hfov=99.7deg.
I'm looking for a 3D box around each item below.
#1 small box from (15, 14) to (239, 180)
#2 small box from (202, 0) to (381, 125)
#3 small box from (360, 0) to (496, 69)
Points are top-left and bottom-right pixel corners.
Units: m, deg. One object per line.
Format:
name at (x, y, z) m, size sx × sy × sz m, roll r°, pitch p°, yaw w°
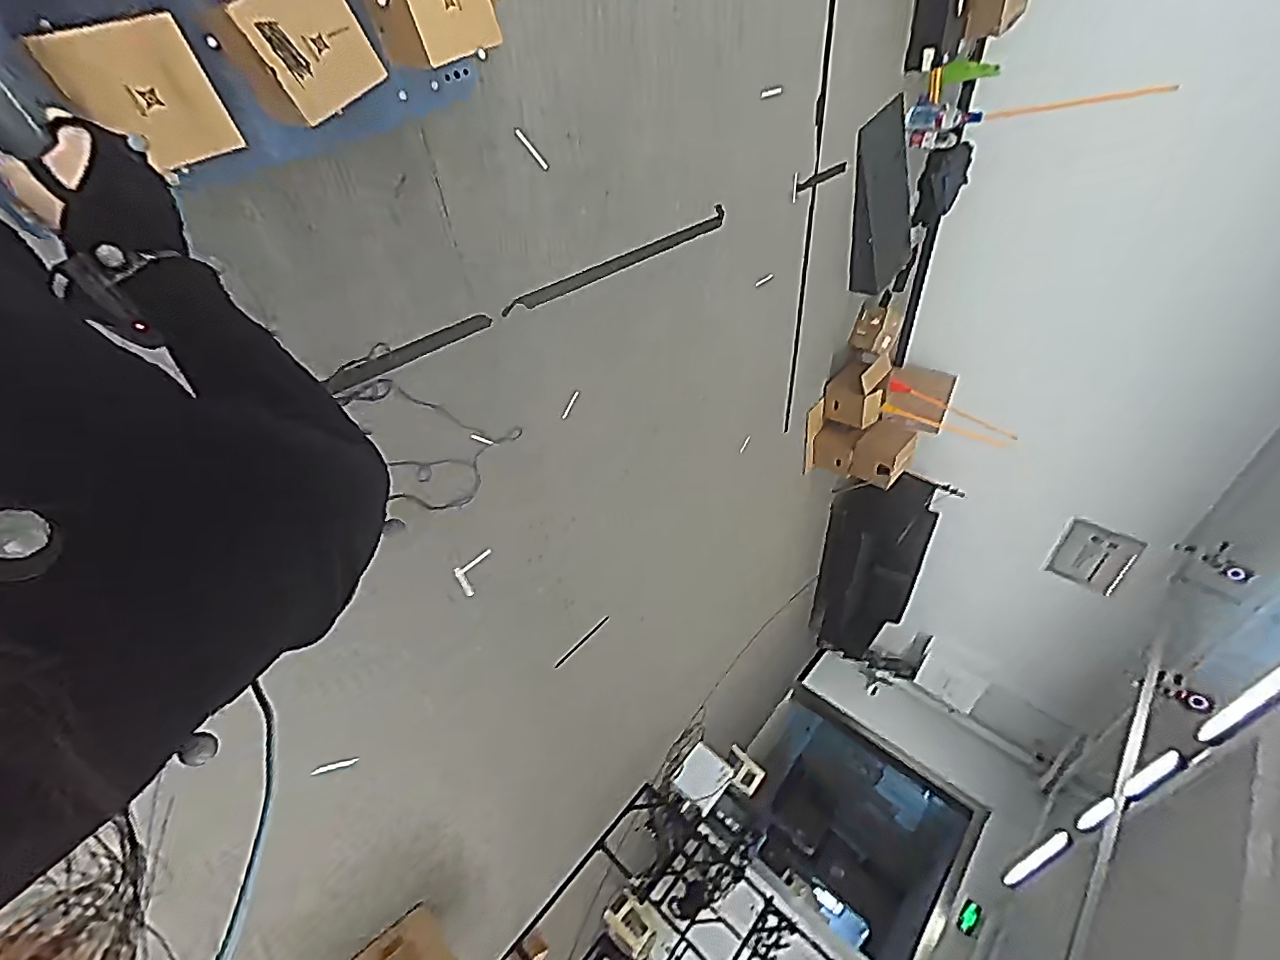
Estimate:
small box at (-0.759, -0.567, 0.805) m, size 0.179 × 0.176 × 0.168 m, roll -42°, pitch 142°, yaw -28°
small box at (-0.591, -0.730, 0.914) m, size 0.179 × 0.176 × 0.168 m, roll -51°, pitch 145°, yaw -18°
small box at (-0.414, -0.904, 1.028) m, size 0.179 × 0.176 × 0.168 m, roll -44°, pitch 142°, yaw -25°
